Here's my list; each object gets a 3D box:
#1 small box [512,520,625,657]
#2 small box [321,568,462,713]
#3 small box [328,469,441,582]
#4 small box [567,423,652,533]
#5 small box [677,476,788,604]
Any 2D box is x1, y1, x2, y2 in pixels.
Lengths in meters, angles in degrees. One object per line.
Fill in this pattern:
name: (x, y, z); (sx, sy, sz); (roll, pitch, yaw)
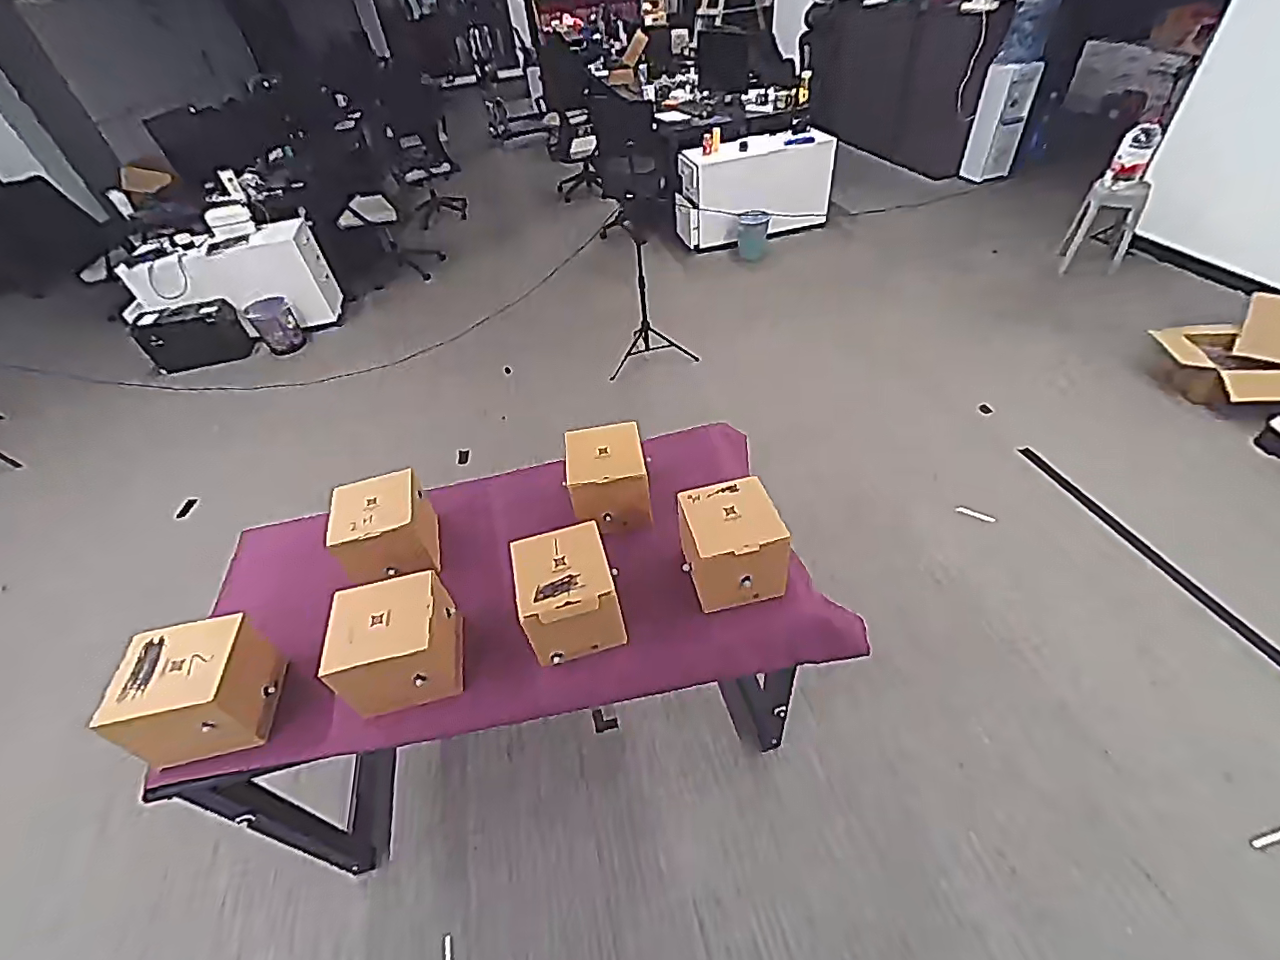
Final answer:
small box: (-0.132, 0.208, 1.009); (0.168, 0.176, 0.179); (-14, 43, -7)
small box: (-0.428, 0.287, 0.967); (0.179, 0.176, 0.168); (-13, 44, -6)
small box: (-0.542, 0.109, 1.171); (0.168, 0.176, 0.179); (-16, 45, -8)
small box: (-0.070, -0.003, 1.223); (0.168, 0.176, 0.179); (-9, 45, -1)
small box: (0.176, 0.122, 1.052); (0.168, 0.176, 0.179); (-12, 42, -4)
